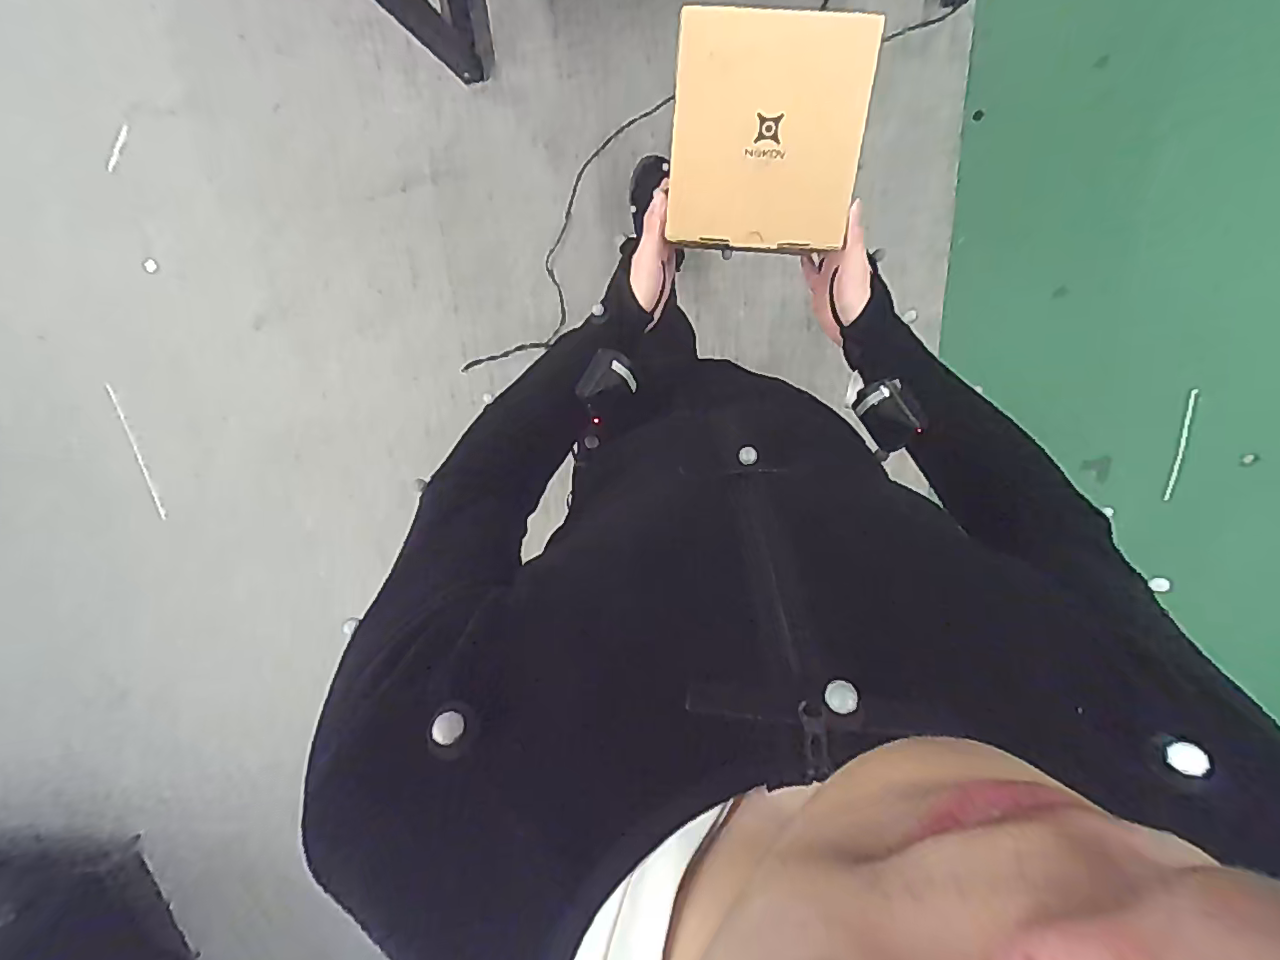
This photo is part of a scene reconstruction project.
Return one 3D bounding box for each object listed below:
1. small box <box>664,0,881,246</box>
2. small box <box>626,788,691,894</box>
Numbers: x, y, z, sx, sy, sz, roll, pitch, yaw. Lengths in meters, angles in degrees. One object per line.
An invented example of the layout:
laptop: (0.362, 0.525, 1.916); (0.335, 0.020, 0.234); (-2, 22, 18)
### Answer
small box: (0.112, -0.336, 0.541); (0.168, 0.176, 0.179); (4, 113, 1)
small box: (0.051, 0.962, 1.451); (0.168, 0.176, 0.179); (1, 110, 6)
